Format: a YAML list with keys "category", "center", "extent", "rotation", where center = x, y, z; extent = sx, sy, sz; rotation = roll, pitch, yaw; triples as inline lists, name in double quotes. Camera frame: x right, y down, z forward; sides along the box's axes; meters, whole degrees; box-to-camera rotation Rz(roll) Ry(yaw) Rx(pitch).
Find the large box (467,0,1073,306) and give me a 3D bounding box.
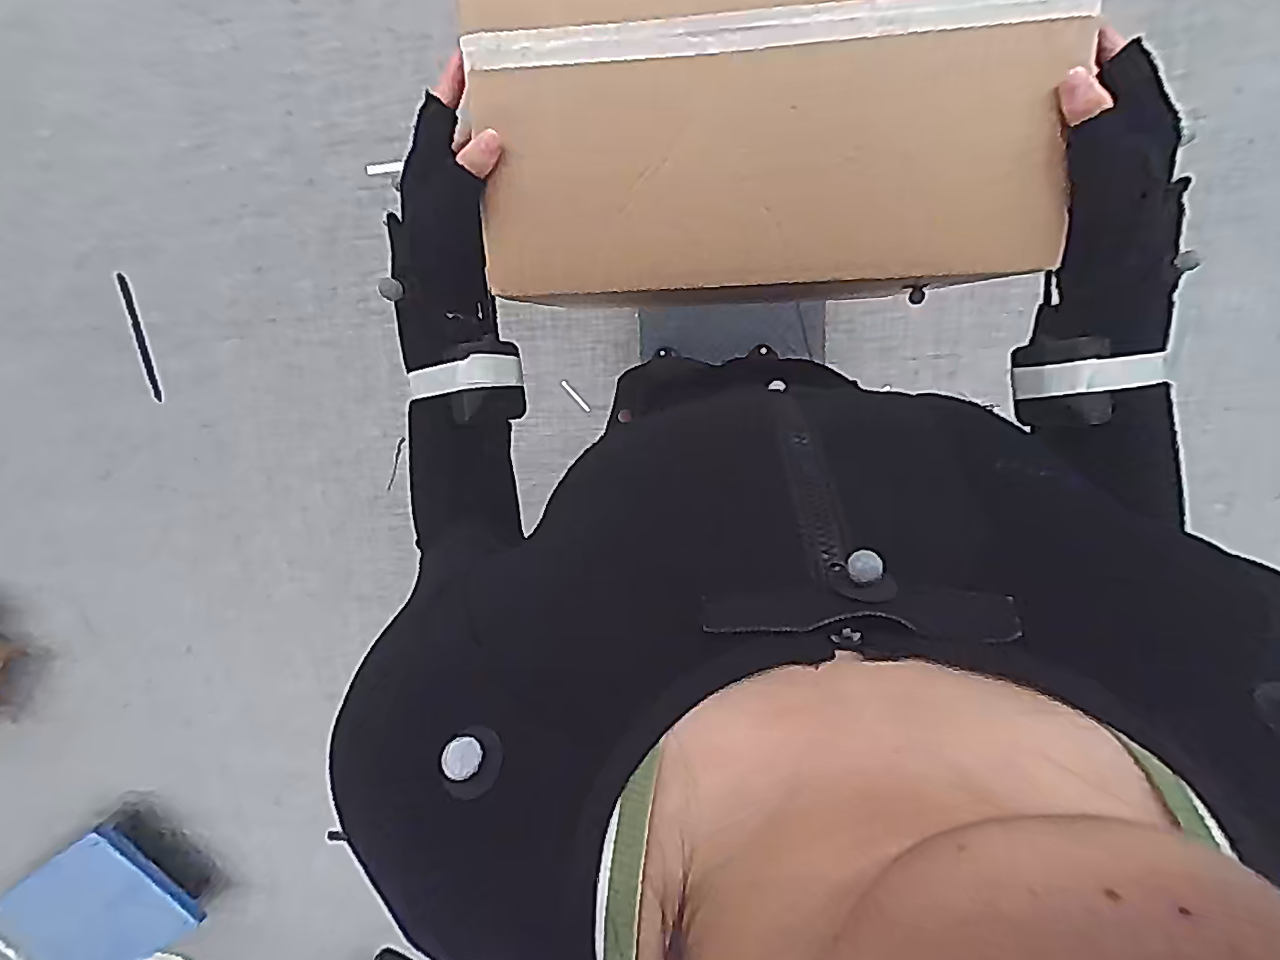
- category: "large box"
  center: [0.093, -0.337, 0.505]
  extent: [0.408, 0.320, 0.320]
  rotation: [-2, 105, 5]
